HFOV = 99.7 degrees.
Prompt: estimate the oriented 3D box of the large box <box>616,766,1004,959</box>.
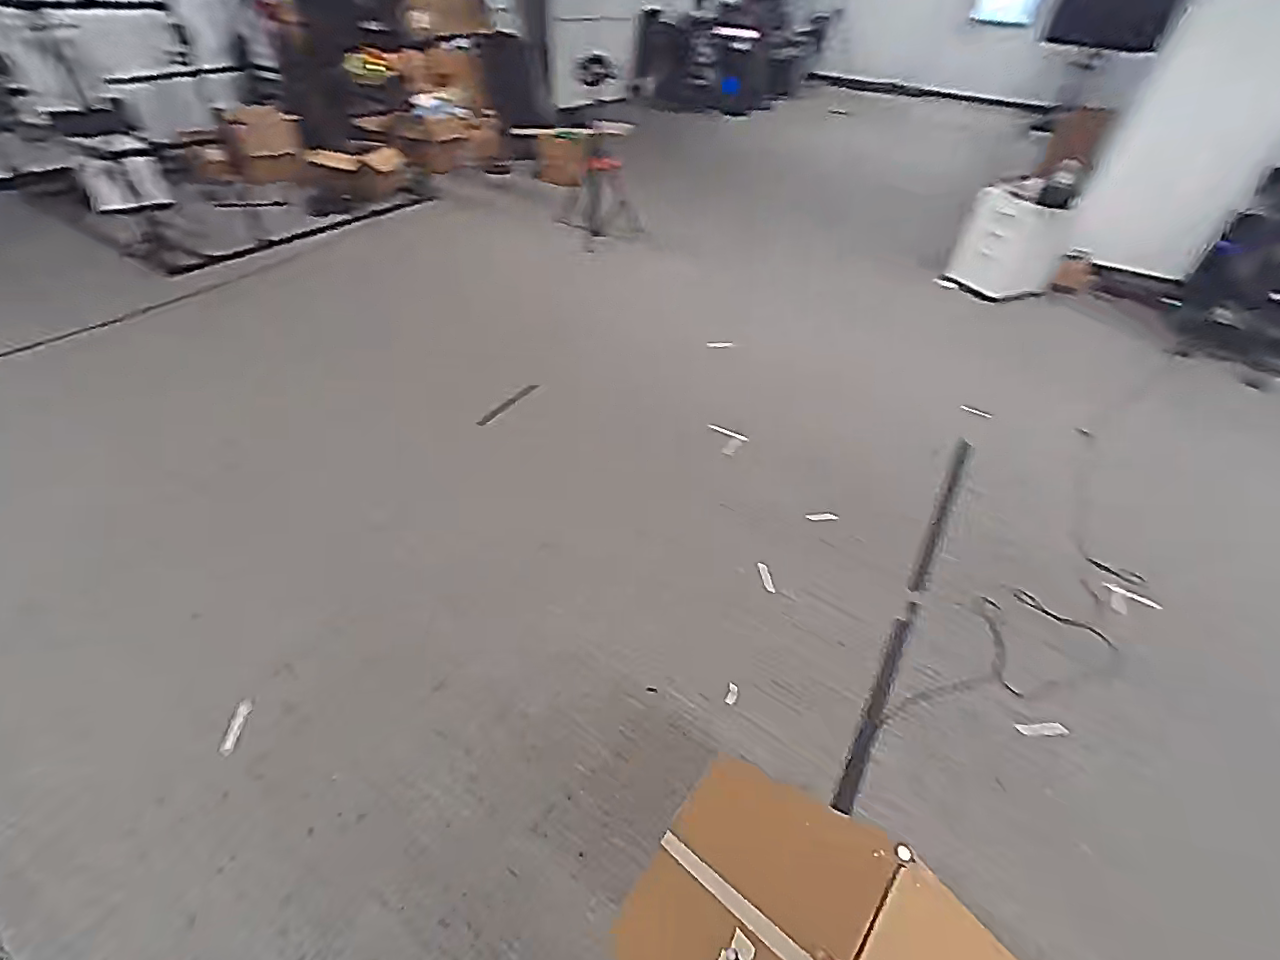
[{"bbox_3d":[0.231,0.662,0.714,0.320,0.408,0.320,47,67,-7],"label":"large box"}]
